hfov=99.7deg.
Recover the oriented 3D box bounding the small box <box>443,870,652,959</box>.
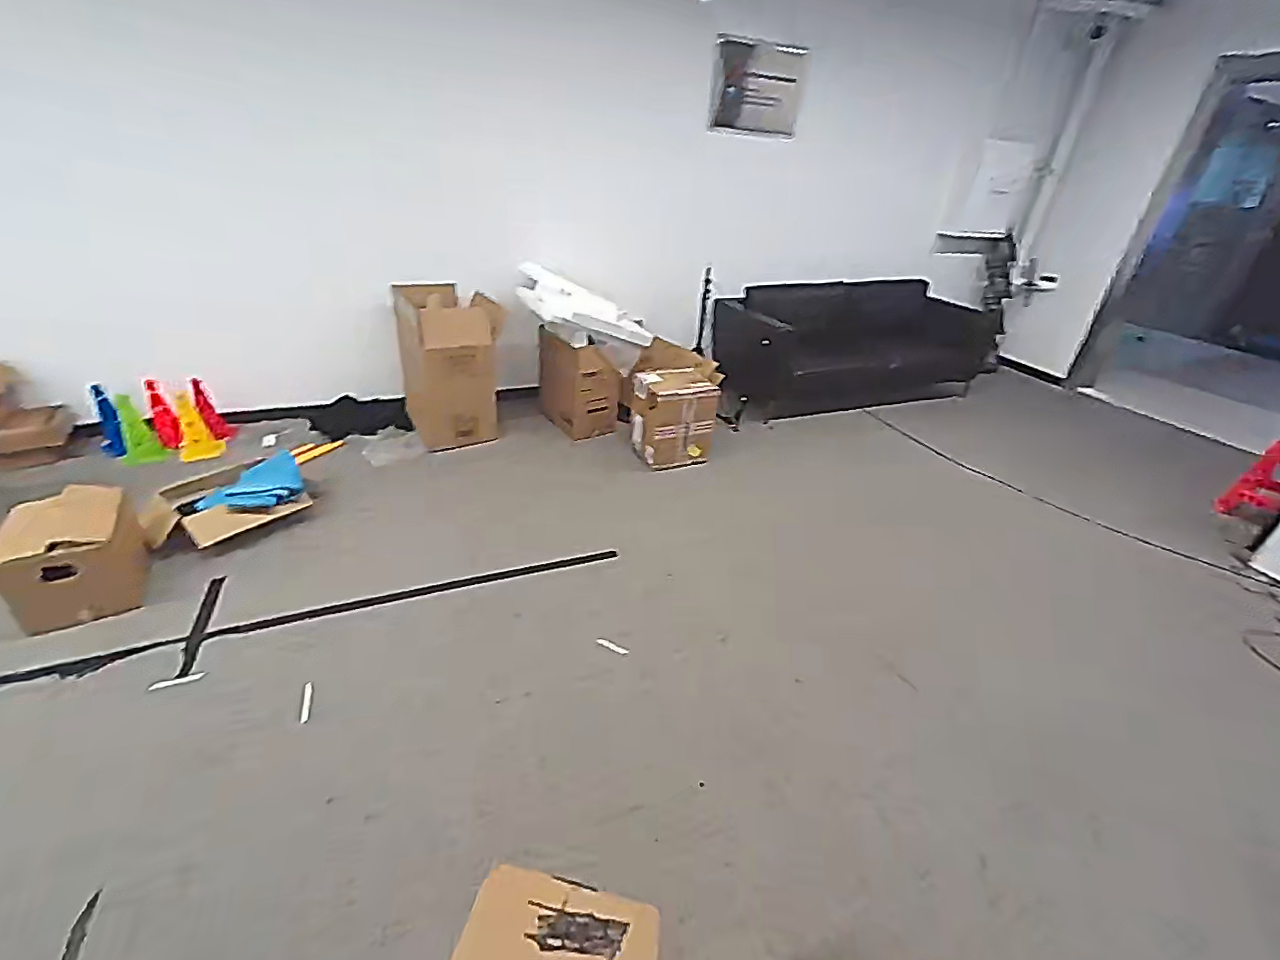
[{"bbox_3d":[-0.093,0.470,0.427,0.168,0.176,0.179,12,10,3],"label":"small box"}]
